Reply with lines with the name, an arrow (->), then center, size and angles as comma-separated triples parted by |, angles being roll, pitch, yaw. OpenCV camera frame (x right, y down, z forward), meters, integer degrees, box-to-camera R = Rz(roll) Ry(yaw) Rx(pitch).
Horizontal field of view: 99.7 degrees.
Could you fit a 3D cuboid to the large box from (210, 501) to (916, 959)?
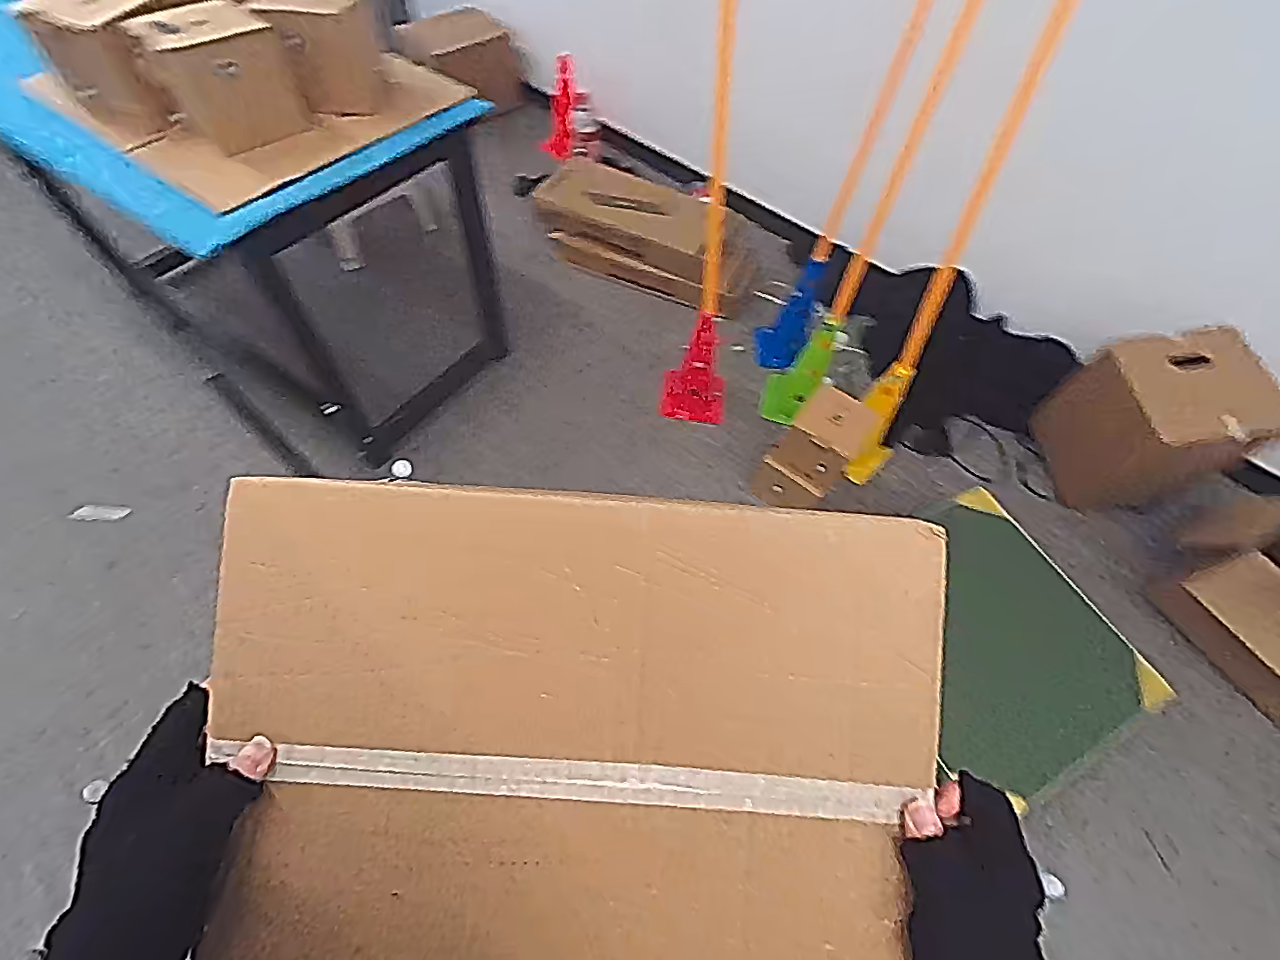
large box -> -0.043, 0.180, 0.461 | 0.408, 0.320, 0.320 | 3, 89, 1
